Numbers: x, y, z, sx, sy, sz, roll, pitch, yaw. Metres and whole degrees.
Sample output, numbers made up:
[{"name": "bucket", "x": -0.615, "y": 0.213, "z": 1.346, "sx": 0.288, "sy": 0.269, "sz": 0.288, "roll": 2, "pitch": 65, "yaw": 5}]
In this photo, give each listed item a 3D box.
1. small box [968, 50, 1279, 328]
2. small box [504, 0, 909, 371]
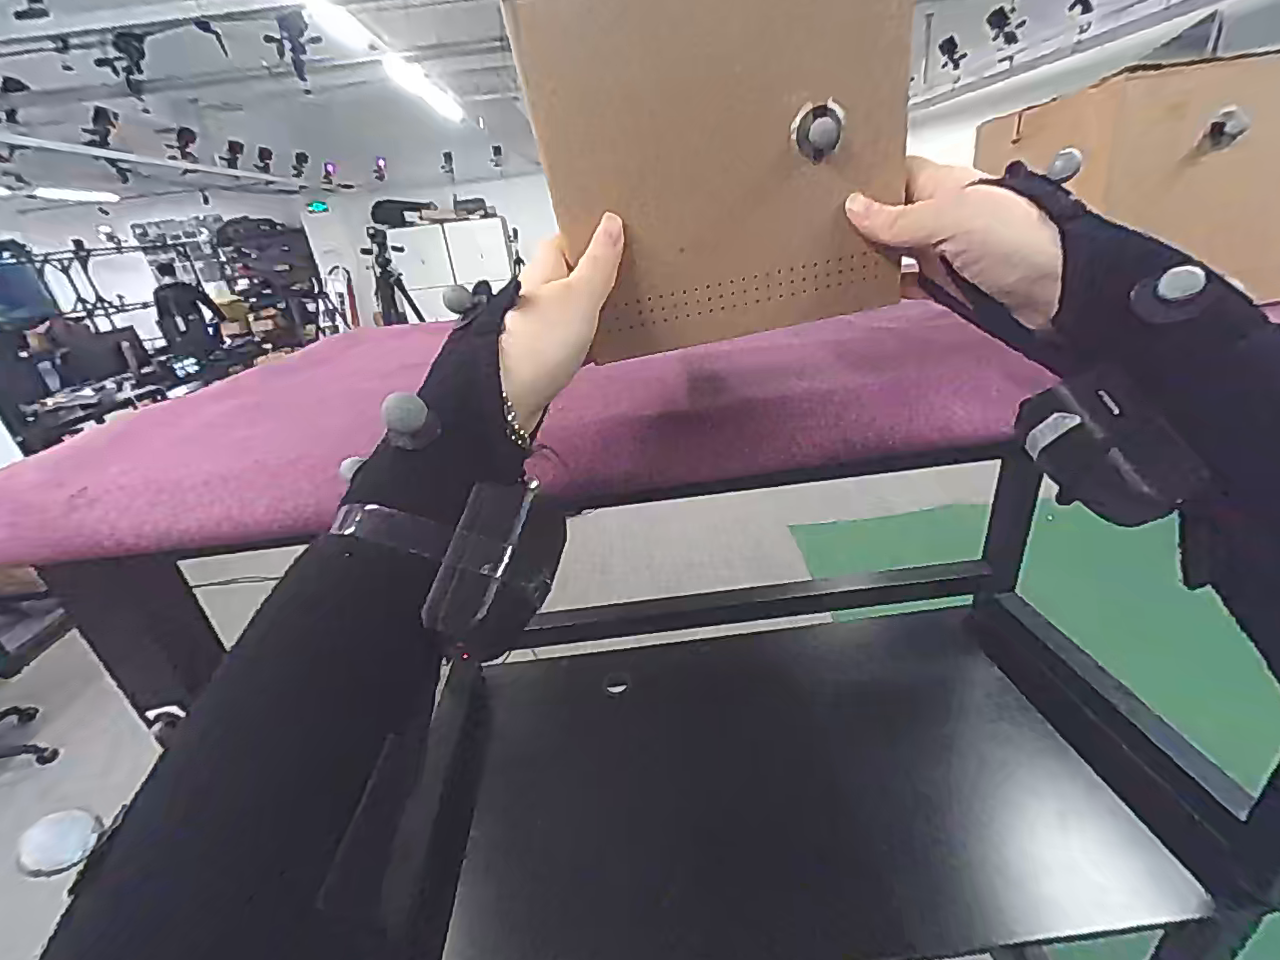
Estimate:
[{"name": "small box", "x": 0.407, "y": -0.229, "z": 0.456, "sx": 0.179, "sy": 0.176, "sz": 0.168, "roll": -6, "pitch": 24, "yaw": 1}, {"name": "small box", "x": 0.039, "y": -0.184, "z": 0.333, "sx": 0.179, "sy": 0.176, "sz": 0.168, "roll": -12, "pitch": 29, "yaw": 4}]
